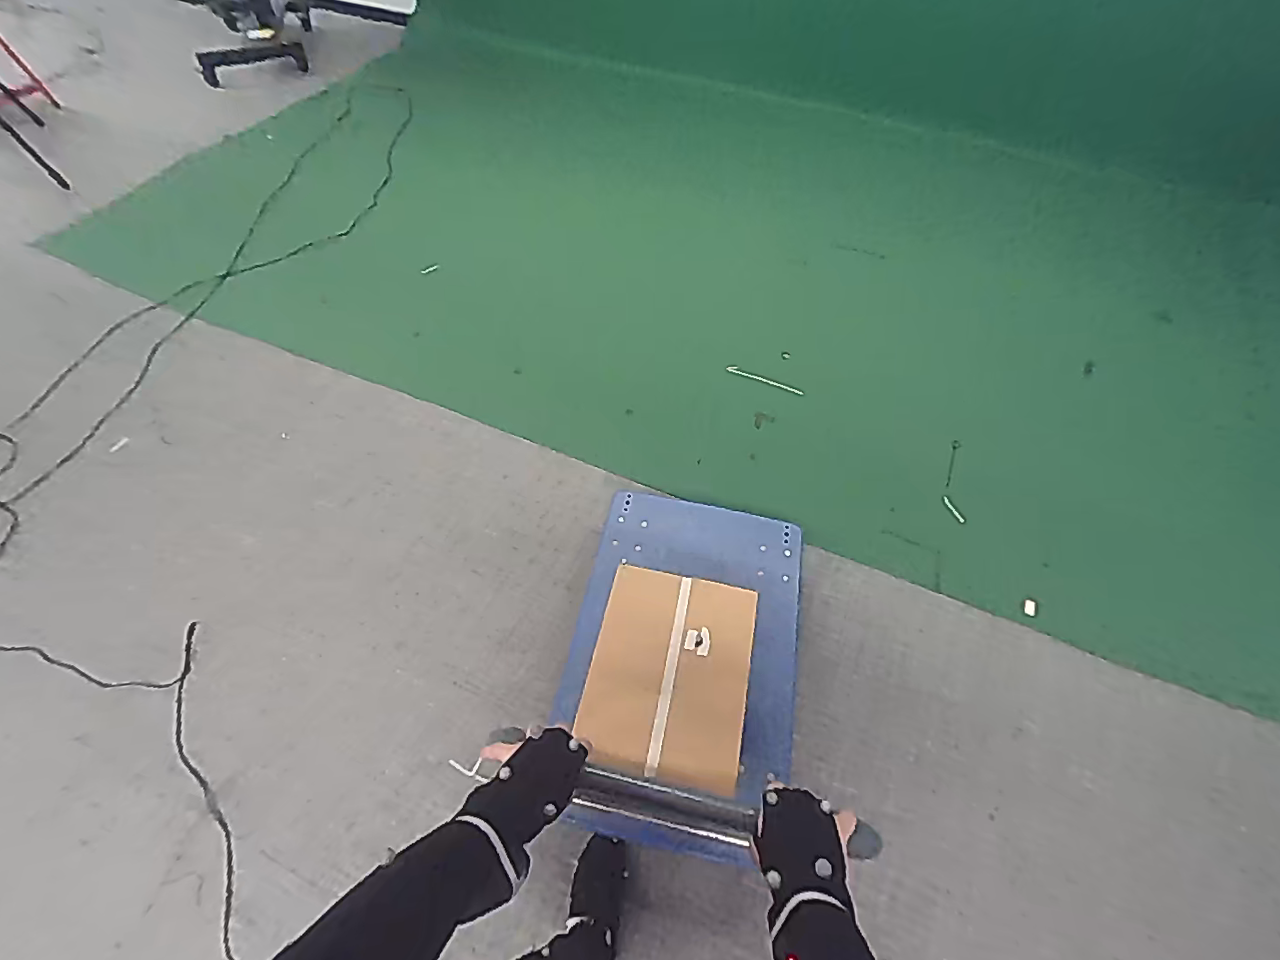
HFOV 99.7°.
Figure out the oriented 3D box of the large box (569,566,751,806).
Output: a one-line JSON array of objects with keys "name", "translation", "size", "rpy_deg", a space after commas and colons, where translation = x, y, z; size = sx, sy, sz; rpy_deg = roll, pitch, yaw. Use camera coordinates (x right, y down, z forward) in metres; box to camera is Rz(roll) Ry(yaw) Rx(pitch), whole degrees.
[{"name": "large box", "translation": [0.054, 0.465, 1.217], "size": [0.320, 0.320, 0.408], "rpy_deg": [11, 55, 6]}]
